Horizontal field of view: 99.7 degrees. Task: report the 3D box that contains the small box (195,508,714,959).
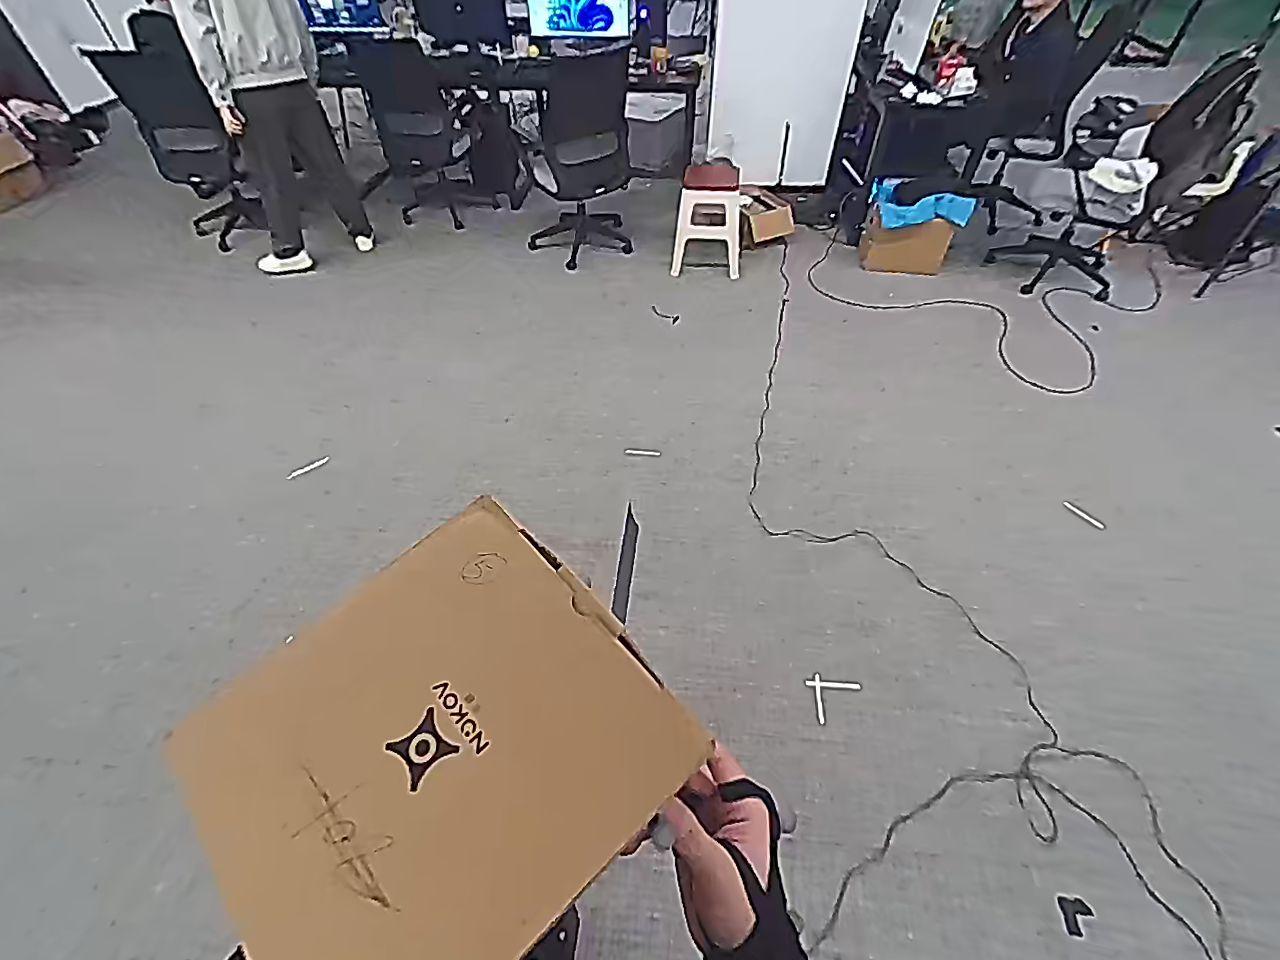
[{"bbox_3d":[-0.079,0.155,0.307,0.179,0.176,0.168,-41,65,-17],"label":"small box"}]
